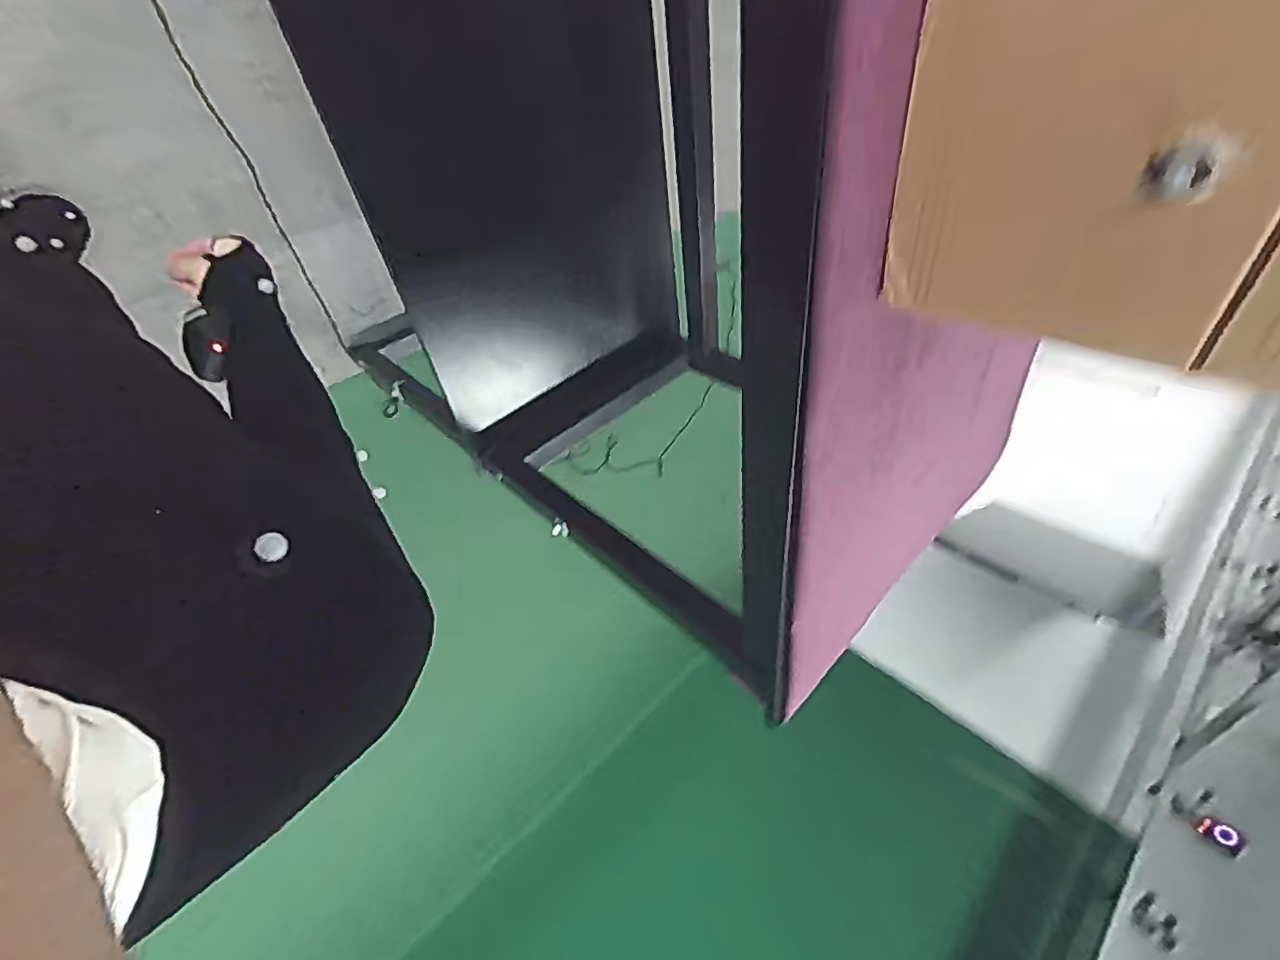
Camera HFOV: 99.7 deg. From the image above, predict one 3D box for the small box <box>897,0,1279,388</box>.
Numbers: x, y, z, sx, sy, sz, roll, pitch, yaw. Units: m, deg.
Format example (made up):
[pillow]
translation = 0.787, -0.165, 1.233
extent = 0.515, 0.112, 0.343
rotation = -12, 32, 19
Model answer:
[small box]
translation = 0.263, -0.180, 0.287
extent = 0.168, 0.176, 0.179
rotation = -37, 137, -26
